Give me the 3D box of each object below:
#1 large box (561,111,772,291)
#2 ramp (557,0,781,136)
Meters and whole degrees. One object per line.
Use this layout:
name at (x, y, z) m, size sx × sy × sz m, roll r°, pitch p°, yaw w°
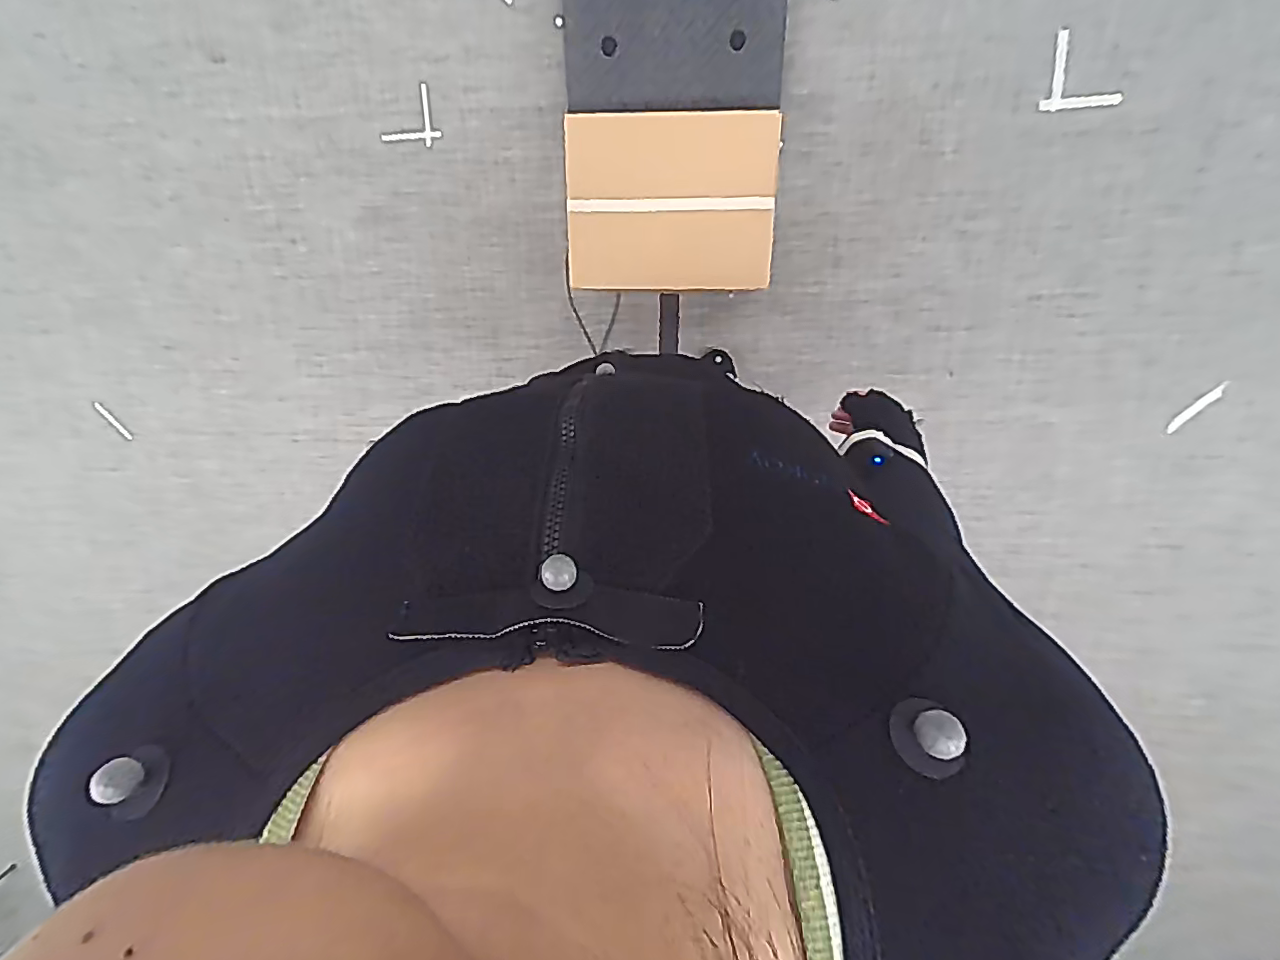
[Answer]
large box at (0.060, -0.585, 1.197) m, size 0.408 × 0.320 × 0.320 m, roll 1°, pitch 107°, yaw 3°
ramp at (0.061, -1.170, 1.121) m, size 0.509 × 0.206 × 0.991 m, roll -1°, pitch 104°, yaw 3°
